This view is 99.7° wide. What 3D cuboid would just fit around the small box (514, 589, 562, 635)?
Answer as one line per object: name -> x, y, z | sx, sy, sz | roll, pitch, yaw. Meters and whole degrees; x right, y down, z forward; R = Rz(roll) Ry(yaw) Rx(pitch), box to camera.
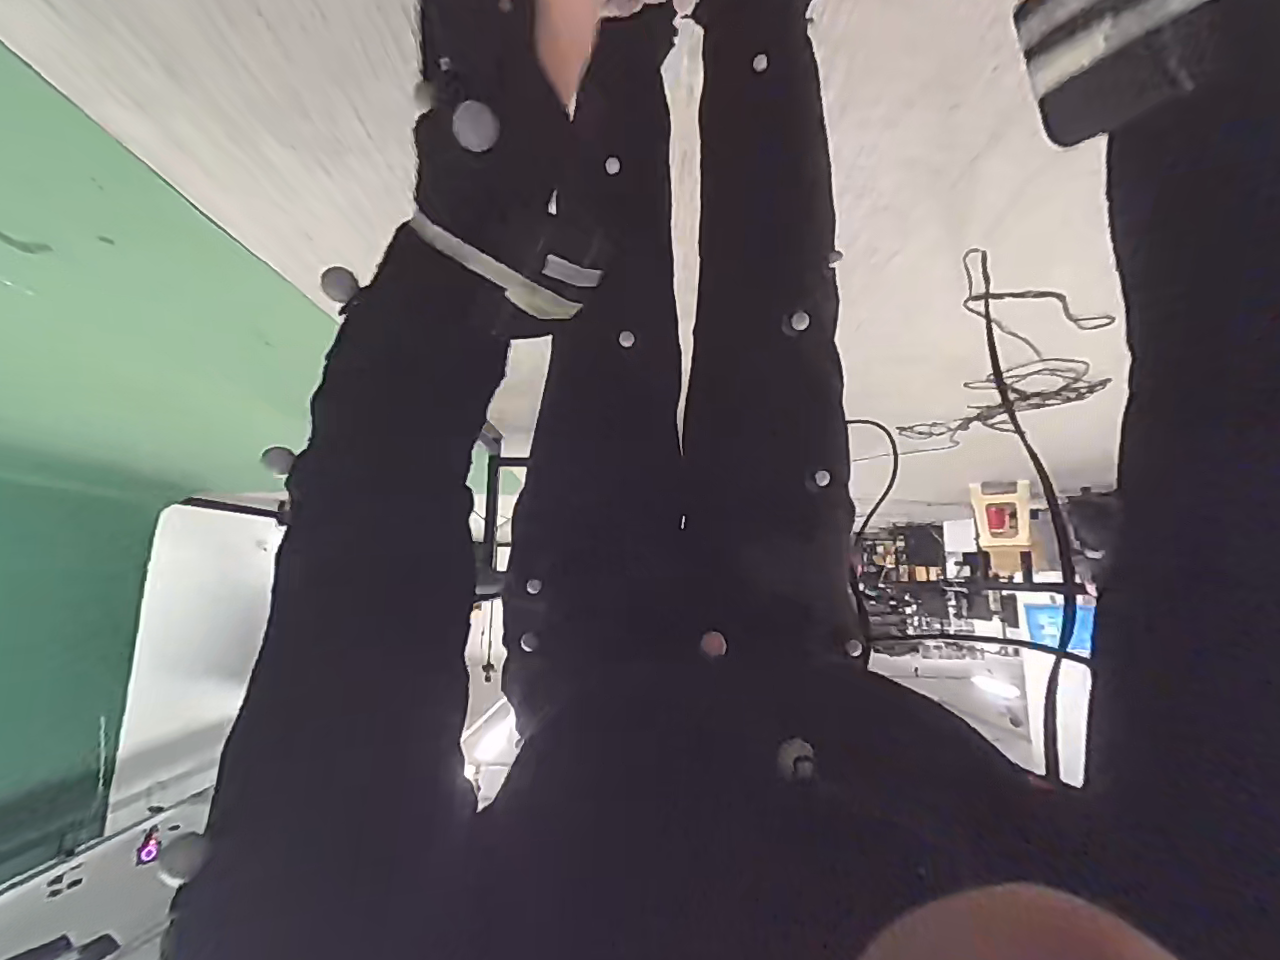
small box -> -0.410, 0.534, 2.199 | 0.179, 0.176, 0.168 | 1, 170, -2
